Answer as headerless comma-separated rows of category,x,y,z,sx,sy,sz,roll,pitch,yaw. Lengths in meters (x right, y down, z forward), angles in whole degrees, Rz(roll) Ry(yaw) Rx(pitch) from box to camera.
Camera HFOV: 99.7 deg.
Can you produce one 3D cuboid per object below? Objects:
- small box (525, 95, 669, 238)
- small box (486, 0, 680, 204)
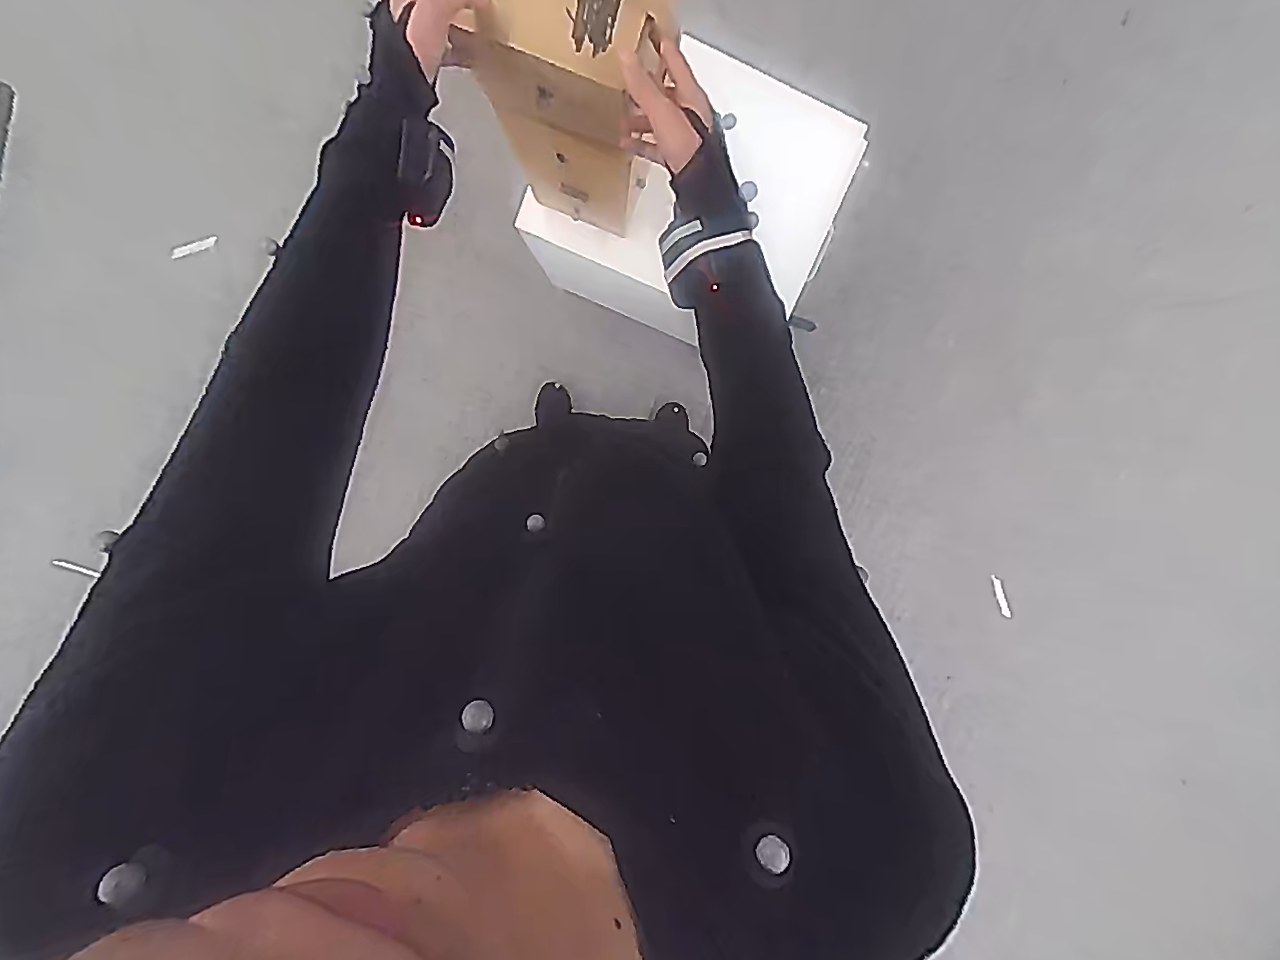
small box,-0.069,-0.512,0.845,0.168,0.176,0.179,21,99,-5
small box,-0.067,-0.477,0.684,0.179,0.176,0.168,21,99,-5
